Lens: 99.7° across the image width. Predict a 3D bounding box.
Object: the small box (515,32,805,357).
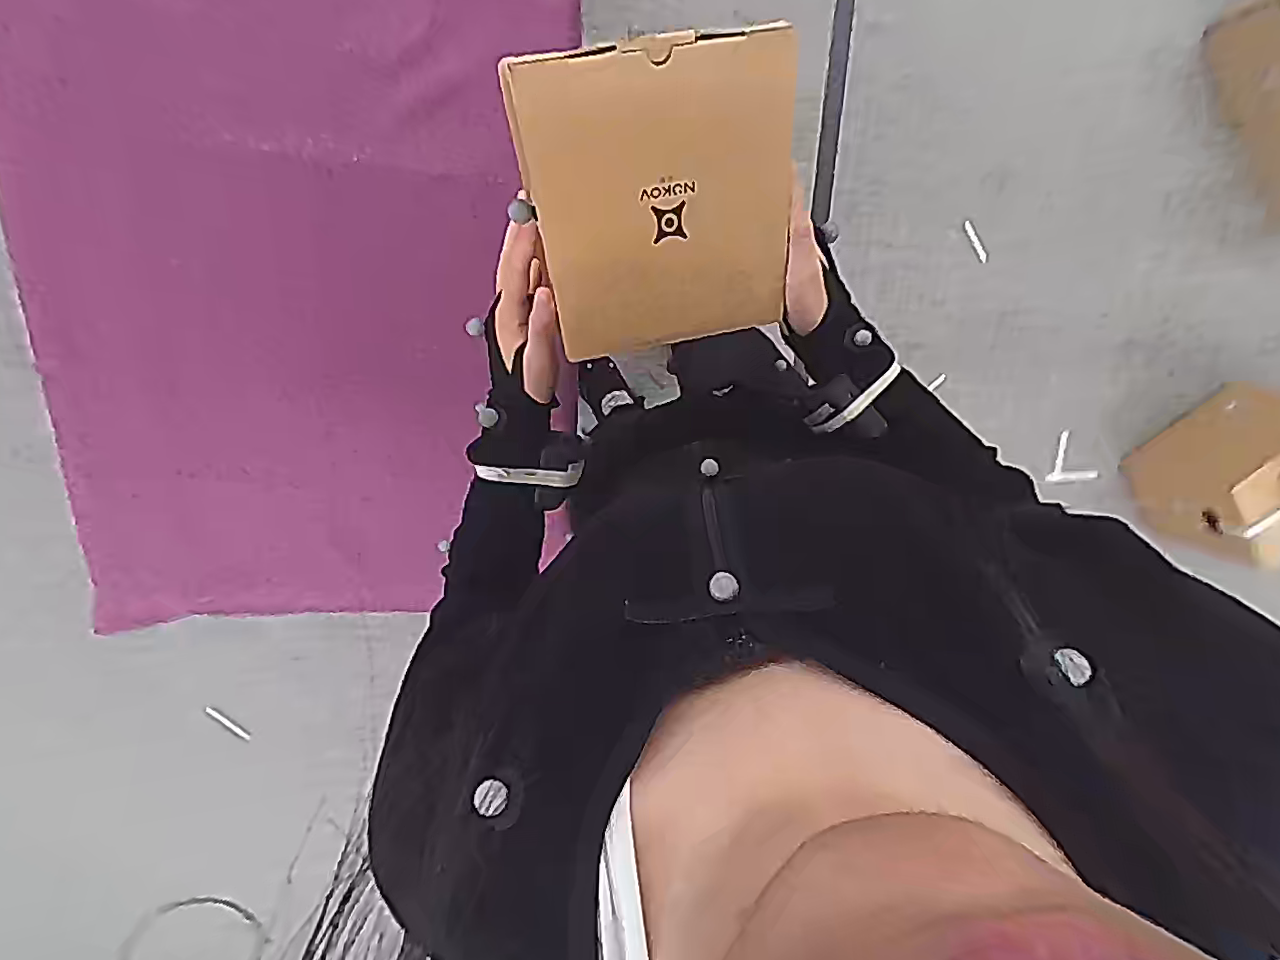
[{"bbox_3d":[0.005,-0.218,0.412,0.168,0.176,0.179,-12,128,-7],"label":"small box"}]
